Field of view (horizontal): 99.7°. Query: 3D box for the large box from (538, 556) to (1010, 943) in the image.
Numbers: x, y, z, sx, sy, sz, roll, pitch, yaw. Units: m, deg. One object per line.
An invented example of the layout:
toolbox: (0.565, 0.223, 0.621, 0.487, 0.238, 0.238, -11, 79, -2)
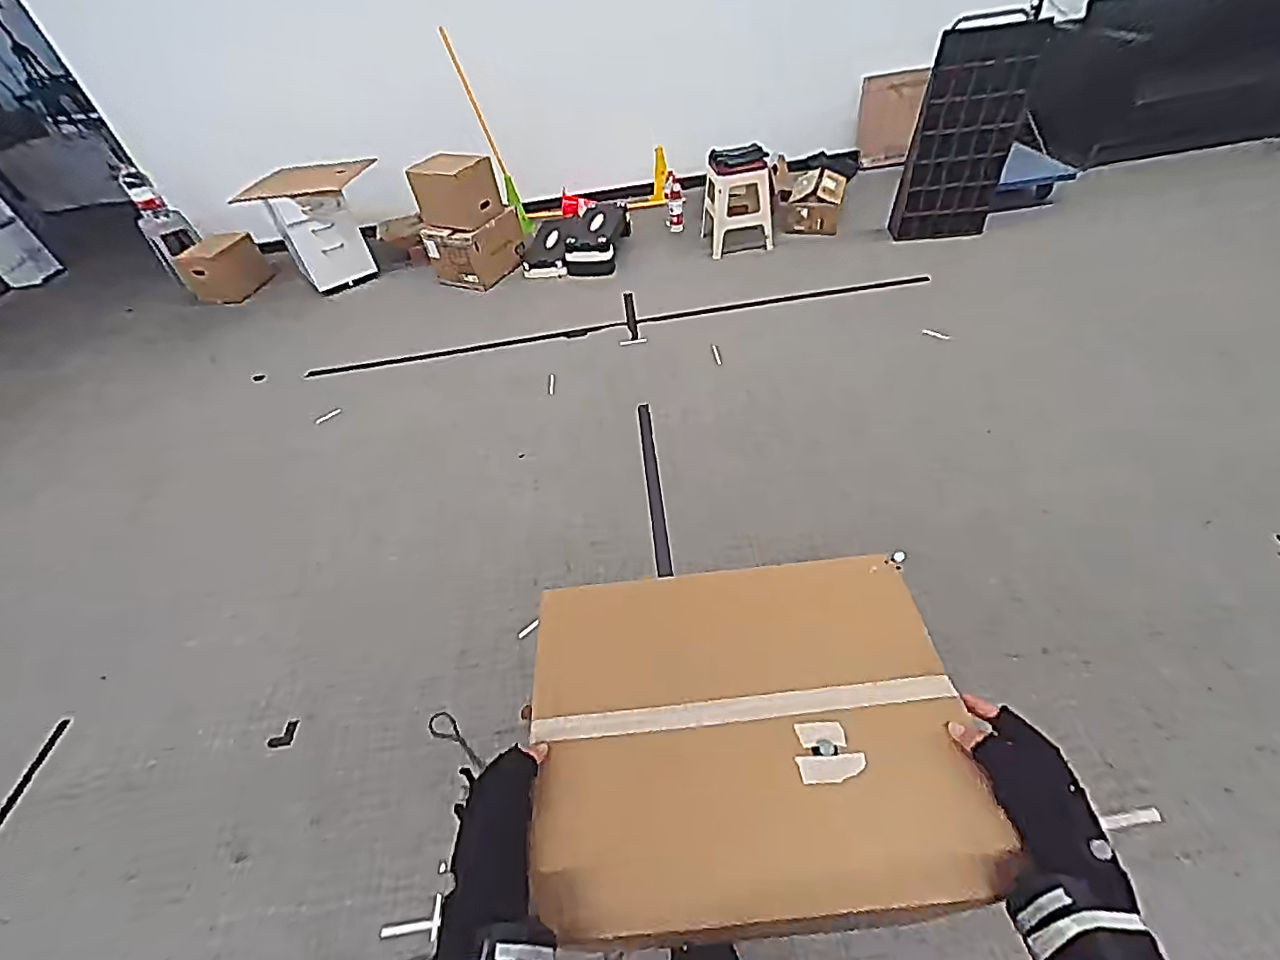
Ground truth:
large box: (0.108, 0.327, 0.652, 0.408, 0.320, 0.320, -6, 48, 0)
